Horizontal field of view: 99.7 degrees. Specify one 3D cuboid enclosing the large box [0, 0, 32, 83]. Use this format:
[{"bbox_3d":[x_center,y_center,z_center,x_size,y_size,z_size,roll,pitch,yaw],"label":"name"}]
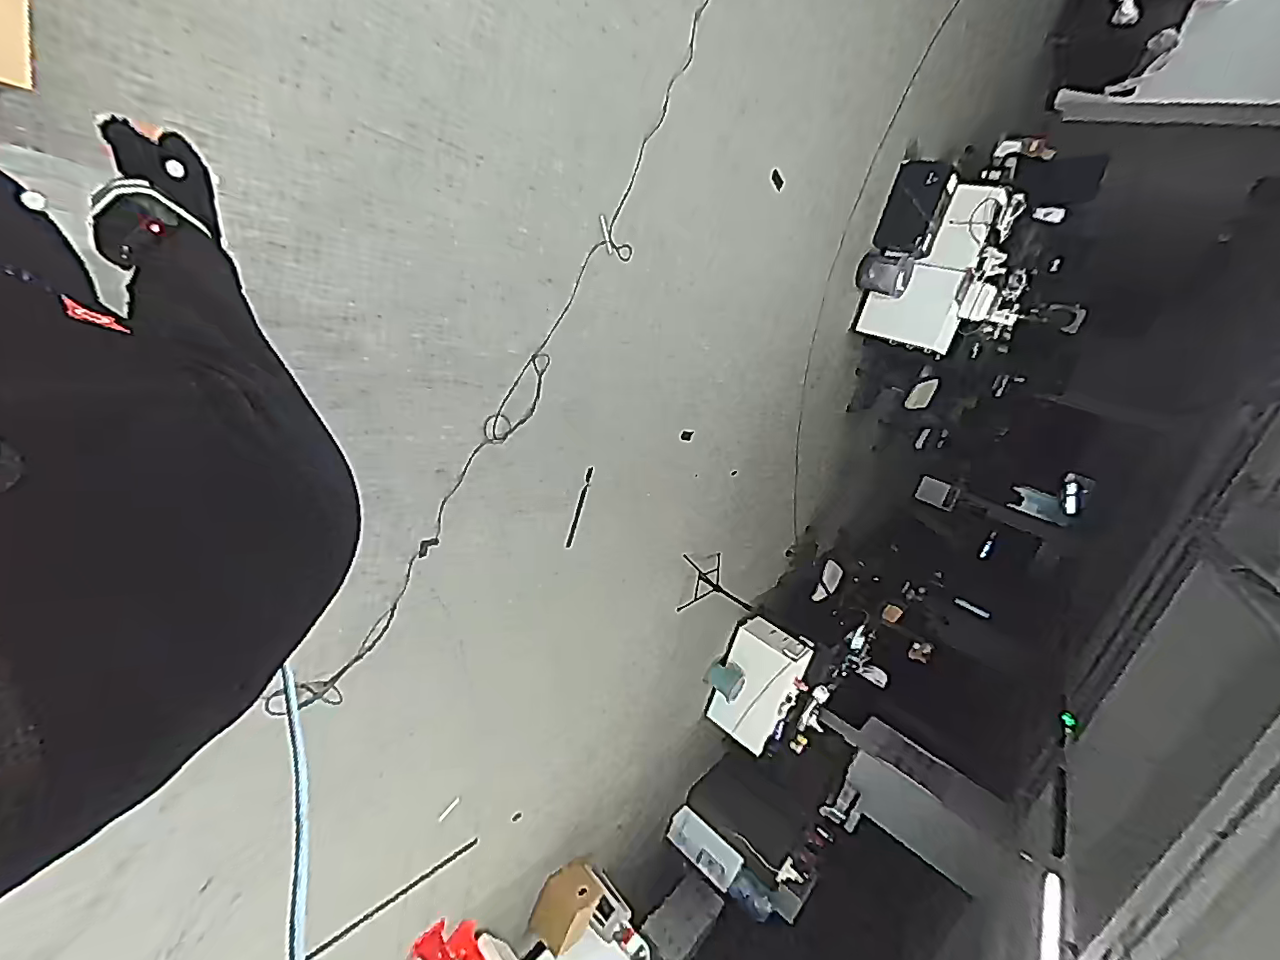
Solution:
[{"bbox_3d":[-1.006,-0.706,0.597,0.408,0.320,0.320,-8,120,-53],"label":"large box"}]
